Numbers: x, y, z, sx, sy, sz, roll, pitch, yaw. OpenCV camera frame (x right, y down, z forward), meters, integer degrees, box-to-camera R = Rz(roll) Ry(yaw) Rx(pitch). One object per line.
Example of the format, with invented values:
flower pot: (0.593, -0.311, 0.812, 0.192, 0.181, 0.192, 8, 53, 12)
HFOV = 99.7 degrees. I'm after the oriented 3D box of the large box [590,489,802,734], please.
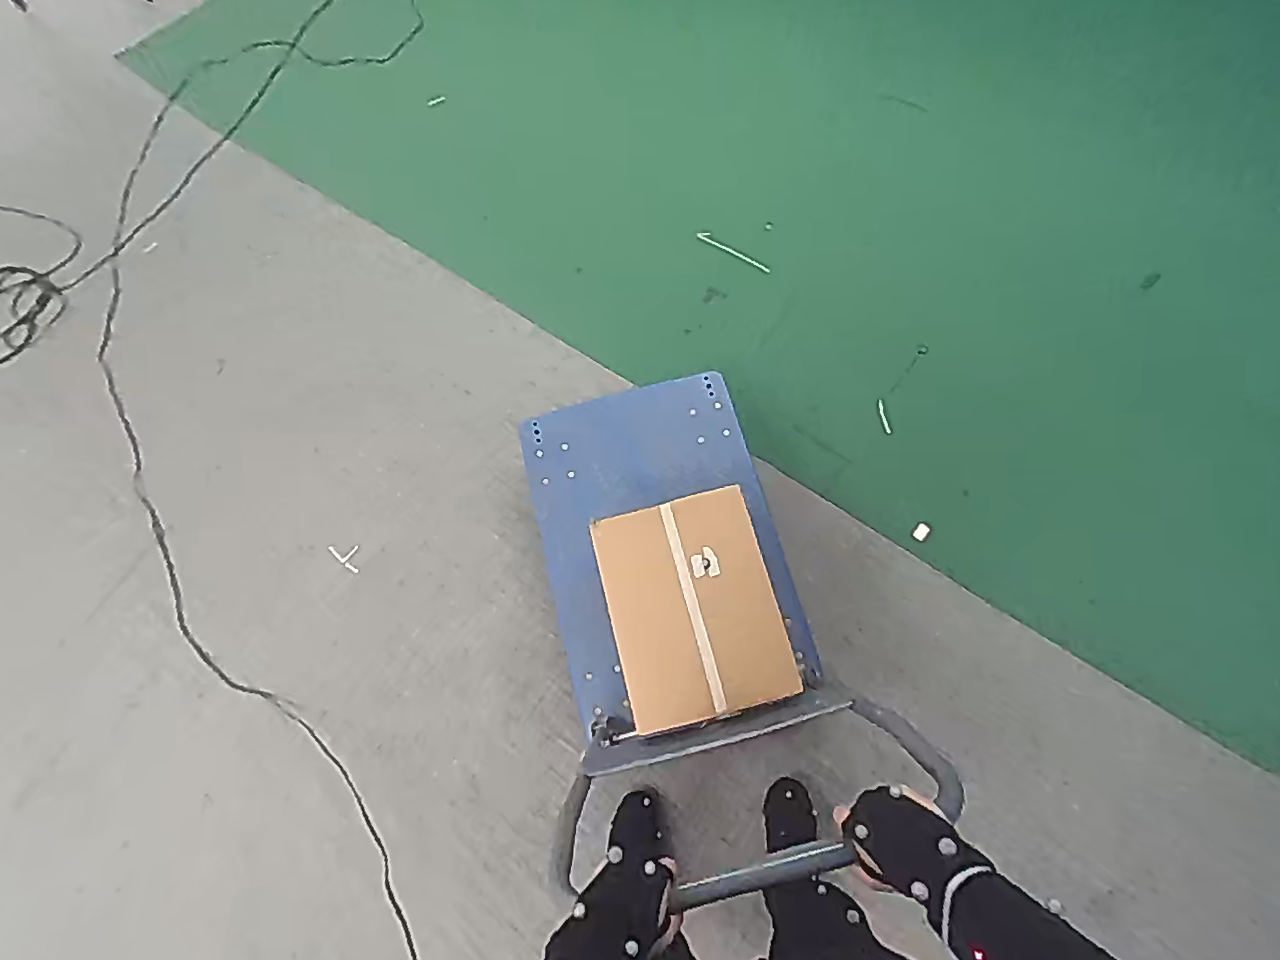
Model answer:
large box: (0.109, 0.279, 1.172, 0.320, 0.320, 0.408, -15, 74, -1)
